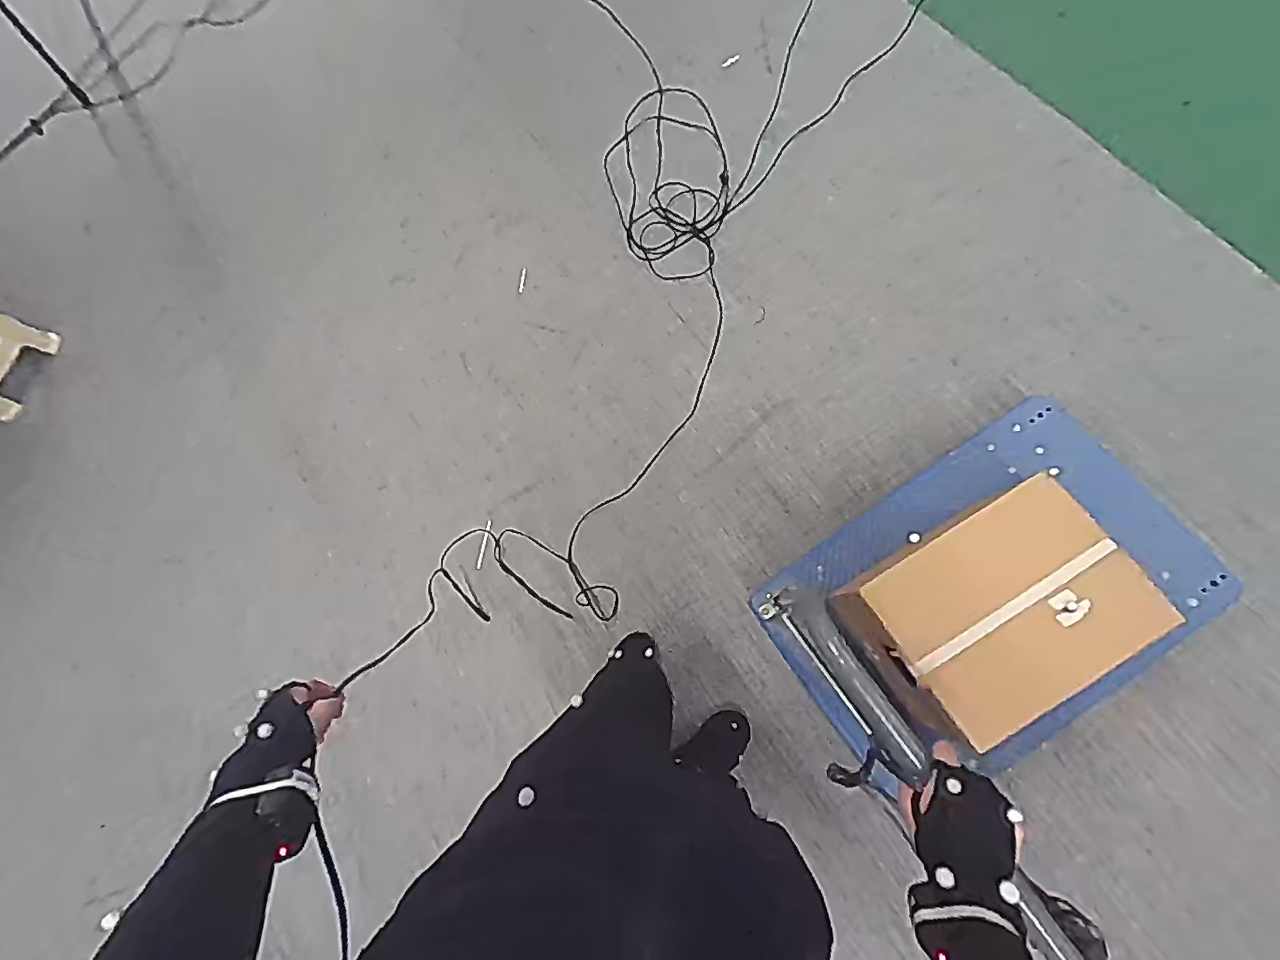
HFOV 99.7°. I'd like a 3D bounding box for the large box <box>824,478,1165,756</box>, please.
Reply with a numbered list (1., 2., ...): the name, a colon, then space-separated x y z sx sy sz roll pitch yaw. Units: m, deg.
1. large box: 0.642 0.263 1.067 0.408 0.320 0.320 -32 73 -2
